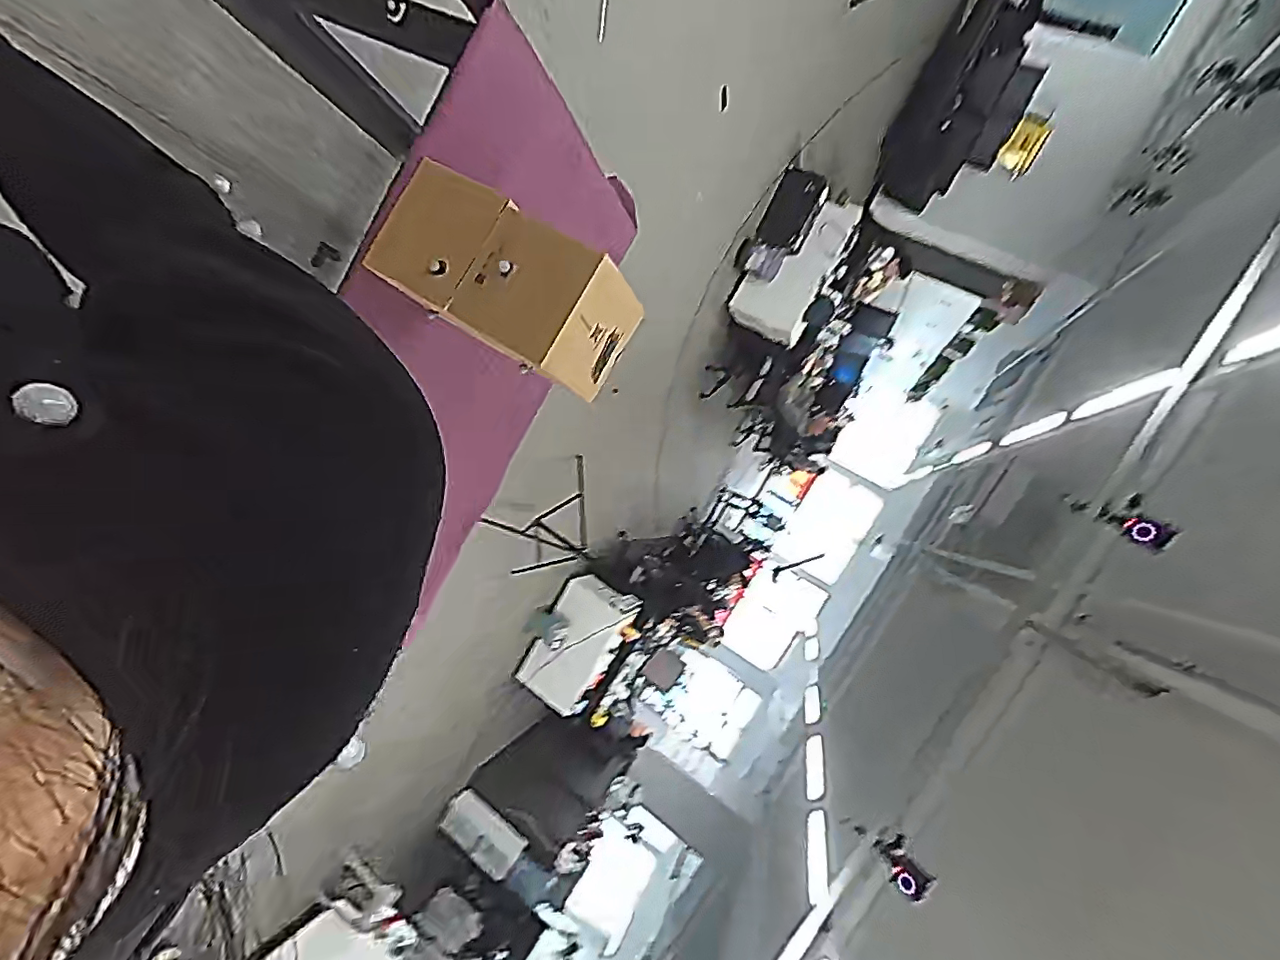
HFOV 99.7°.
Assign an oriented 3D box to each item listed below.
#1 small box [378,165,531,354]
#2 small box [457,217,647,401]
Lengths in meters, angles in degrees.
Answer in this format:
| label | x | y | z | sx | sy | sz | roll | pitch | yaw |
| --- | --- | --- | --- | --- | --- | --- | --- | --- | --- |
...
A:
| label | x | y | z | sx | sy | sz | roll | pitch | yaw |
| --- | --- | --- | --- | --- | --- | --- | --- | --- | --- |
| small box | -0.255 | -0.325 | 0.812 | 0.179 | 0.176 | 0.168 | -59 | 163 | 1 |
| small box | -0.120 | -0.240 | 0.773 | 0.168 | 0.176 | 0.179 | -59 | 162 | 2 |
